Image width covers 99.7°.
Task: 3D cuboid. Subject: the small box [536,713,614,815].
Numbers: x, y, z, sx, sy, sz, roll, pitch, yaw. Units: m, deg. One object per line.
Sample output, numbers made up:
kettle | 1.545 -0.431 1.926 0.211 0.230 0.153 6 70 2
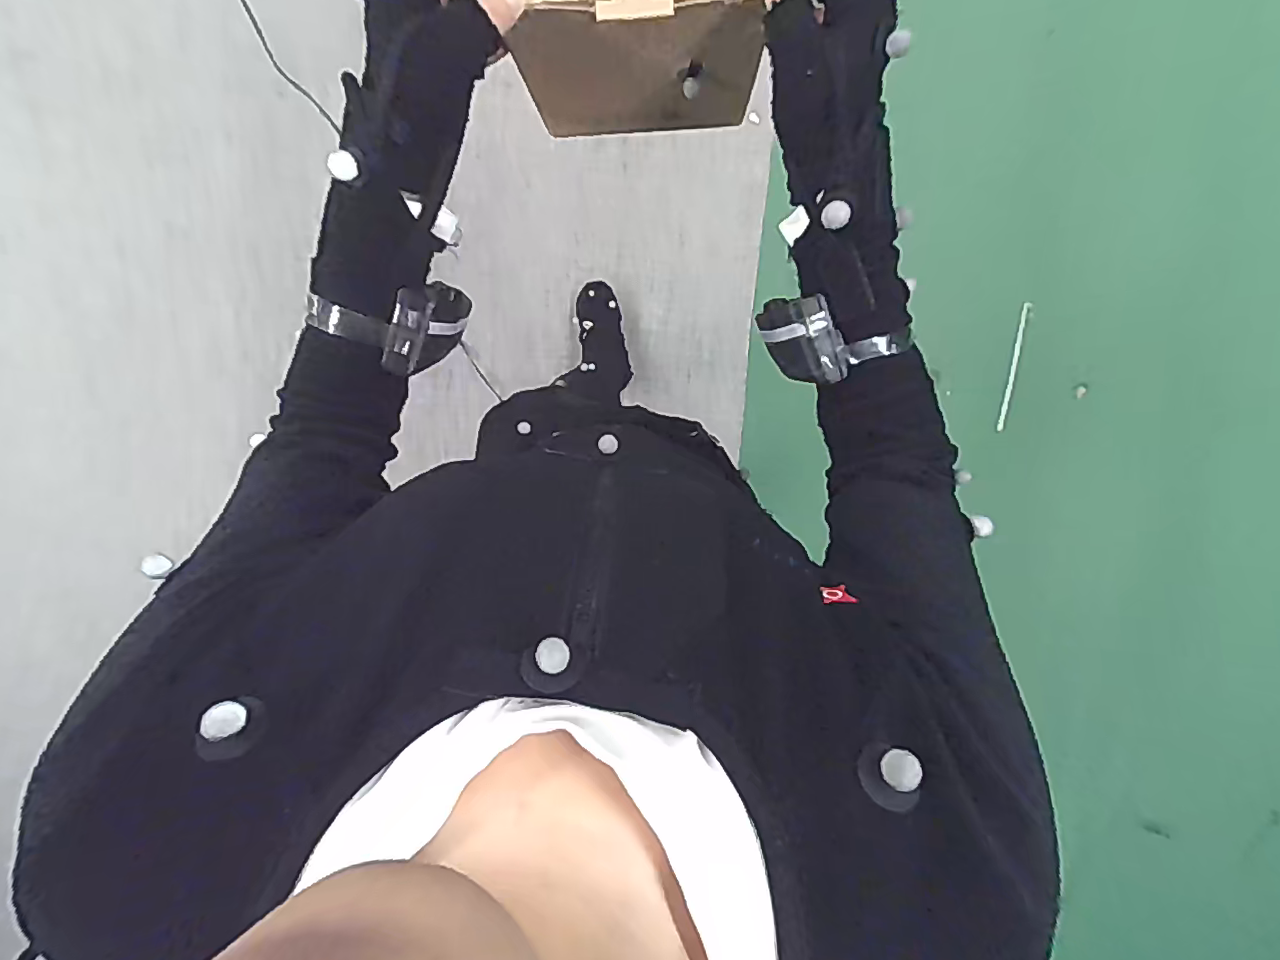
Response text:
small box | -0.167 0.747 1.445 0.168 0.176 0.179 -11 101 4
